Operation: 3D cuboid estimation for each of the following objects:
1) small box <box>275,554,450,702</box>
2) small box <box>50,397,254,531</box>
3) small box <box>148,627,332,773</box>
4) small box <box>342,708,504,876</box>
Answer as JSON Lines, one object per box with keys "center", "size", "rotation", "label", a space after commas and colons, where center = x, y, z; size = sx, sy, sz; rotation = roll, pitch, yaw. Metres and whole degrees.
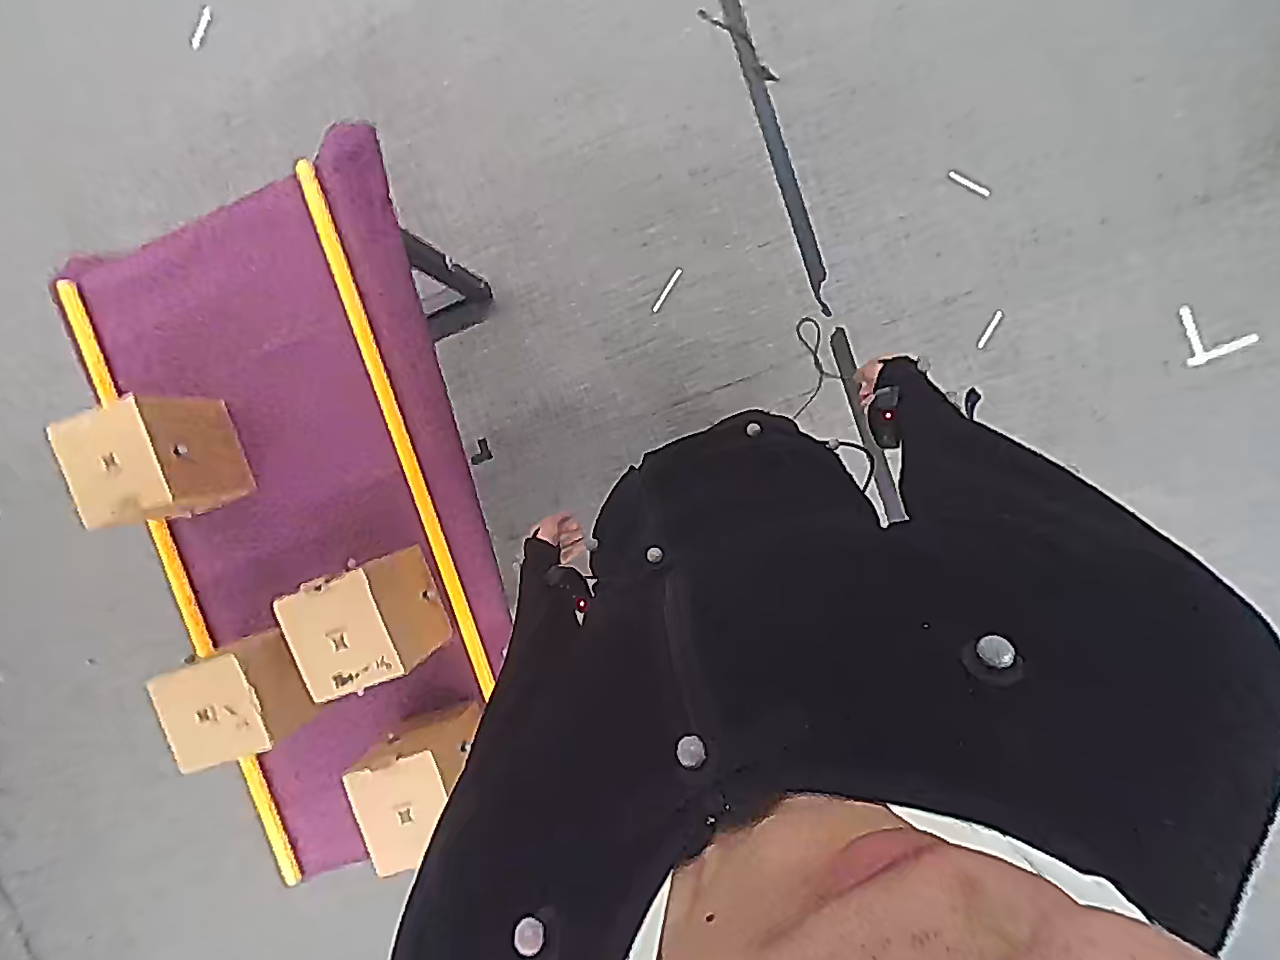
{"center": [-0.452, 0.233, 0.906], "size": [0.168, 0.176, 0.179], "rotation": [-20, 92, 9], "label": "small box"}
{"center": [-0.822, -0.029, 0.929], "size": [0.168, 0.176, 0.179], "rotation": [-19, 93, 7], "label": "small box"}
{"center": [-0.683, 0.370, 0.947], "size": [0.179, 0.176, 0.168], "rotation": [-19, 93, 6], "label": "small box"}
{"center": [-0.357, 0.513, 0.918], "size": [0.168, 0.176, 0.179], "rotation": [-20, 90, 9], "label": "small box"}
